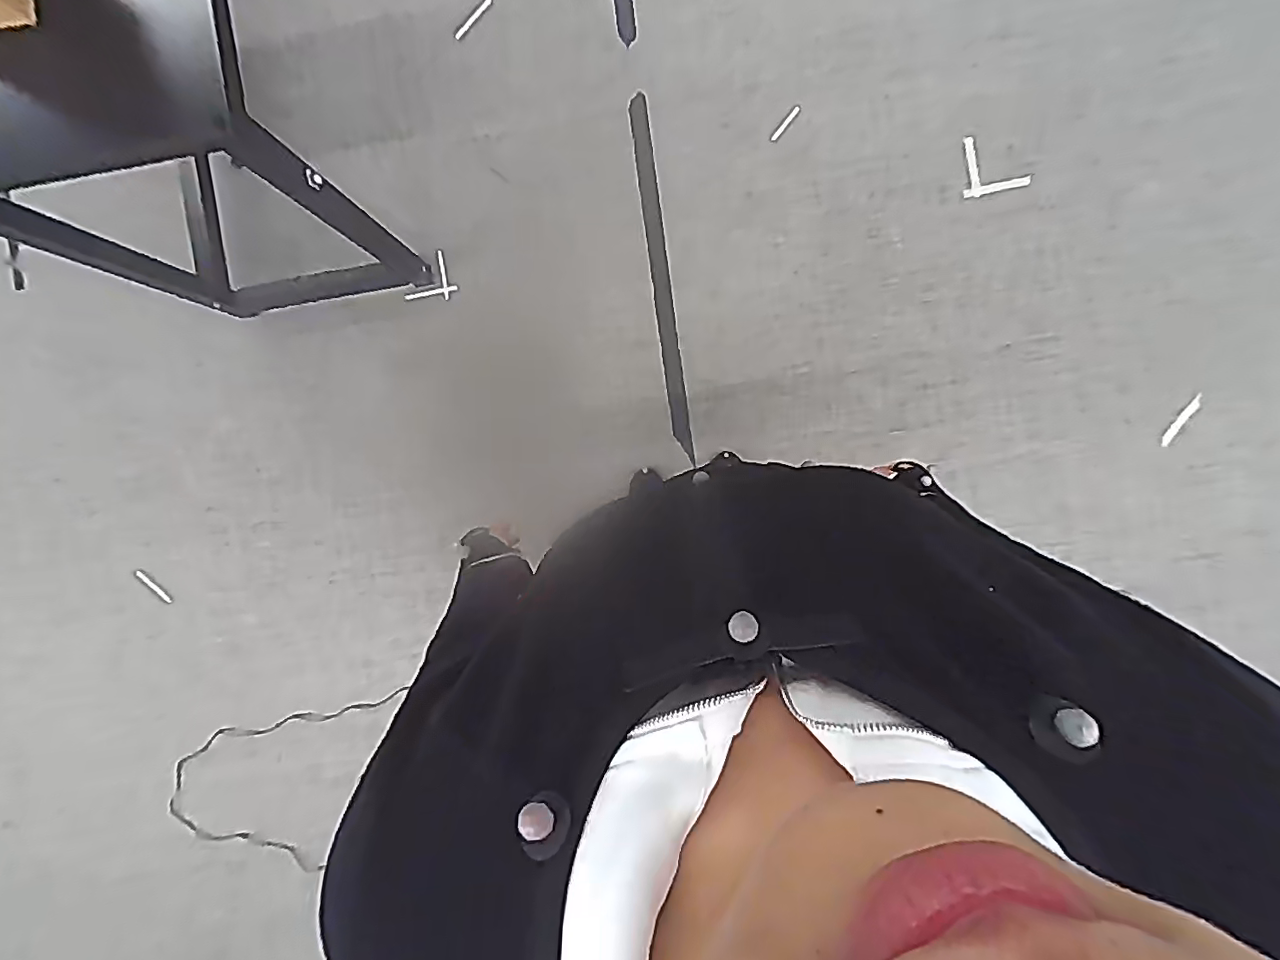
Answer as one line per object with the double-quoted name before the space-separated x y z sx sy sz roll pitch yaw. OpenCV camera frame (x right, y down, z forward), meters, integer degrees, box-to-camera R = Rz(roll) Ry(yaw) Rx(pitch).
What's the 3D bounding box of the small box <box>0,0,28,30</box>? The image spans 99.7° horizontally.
"small box" -0.986 -0.744 0.723 0.179 0.176 0.168 -5 91 3
